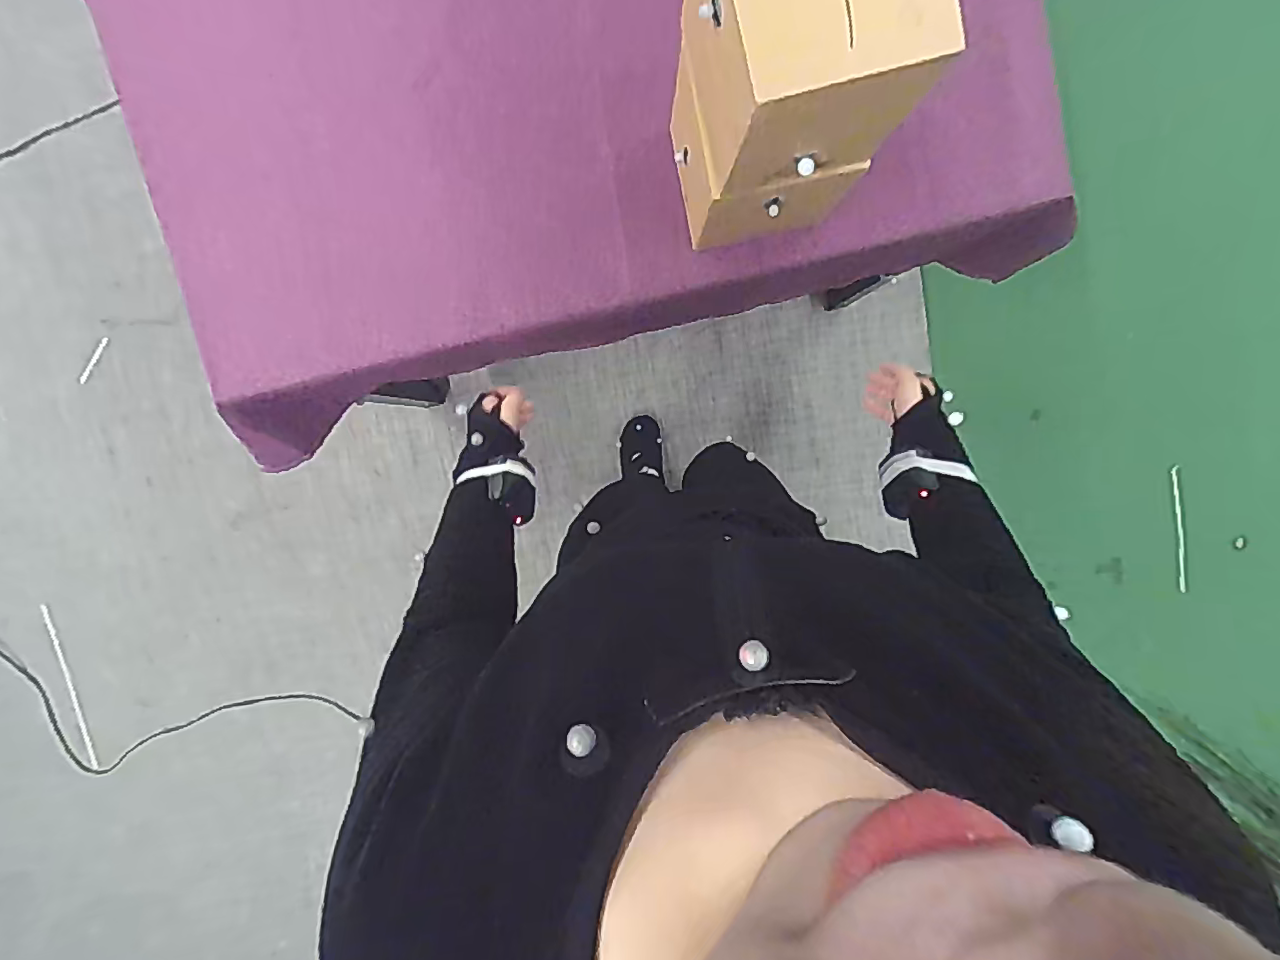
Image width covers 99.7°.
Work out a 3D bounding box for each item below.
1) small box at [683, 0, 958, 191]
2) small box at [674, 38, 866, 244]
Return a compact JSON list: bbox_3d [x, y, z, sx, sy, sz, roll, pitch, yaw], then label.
[{"bbox_3d":[0.140,-0.395,0.479,0.168,0.176,0.179,-14,96,1],"label":"small box"},{"bbox_3d":[0.139,-0.401,0.644,0.179,0.176,0.168,-11,96,0],"label":"small box"}]
